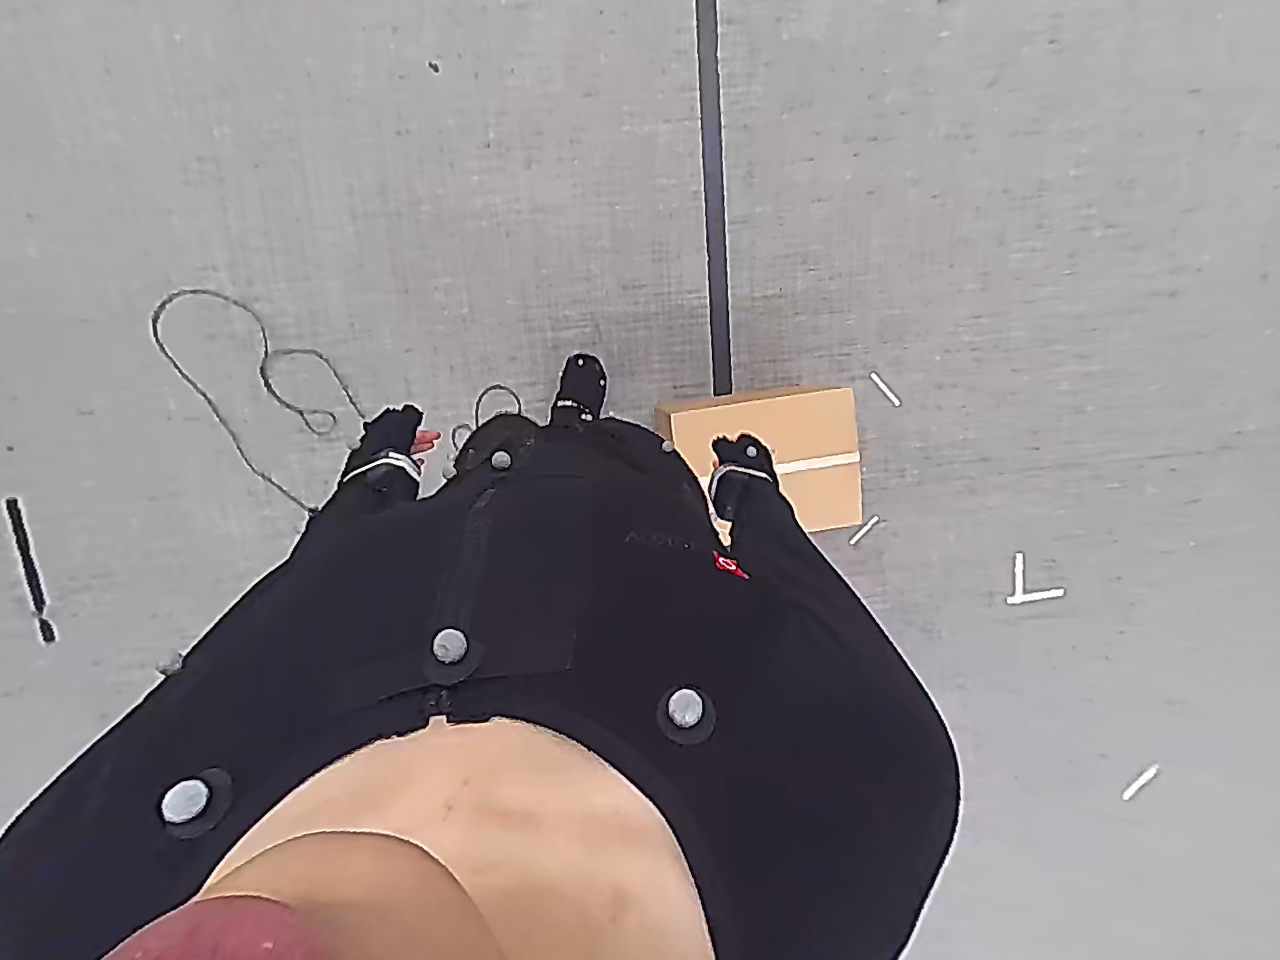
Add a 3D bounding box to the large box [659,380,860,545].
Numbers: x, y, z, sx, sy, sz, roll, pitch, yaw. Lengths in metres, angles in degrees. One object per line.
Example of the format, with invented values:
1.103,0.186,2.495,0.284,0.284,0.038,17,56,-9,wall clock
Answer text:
0.276,-0.062,1.342,0.408,0.320,0.320,-9,101,-1,large box
